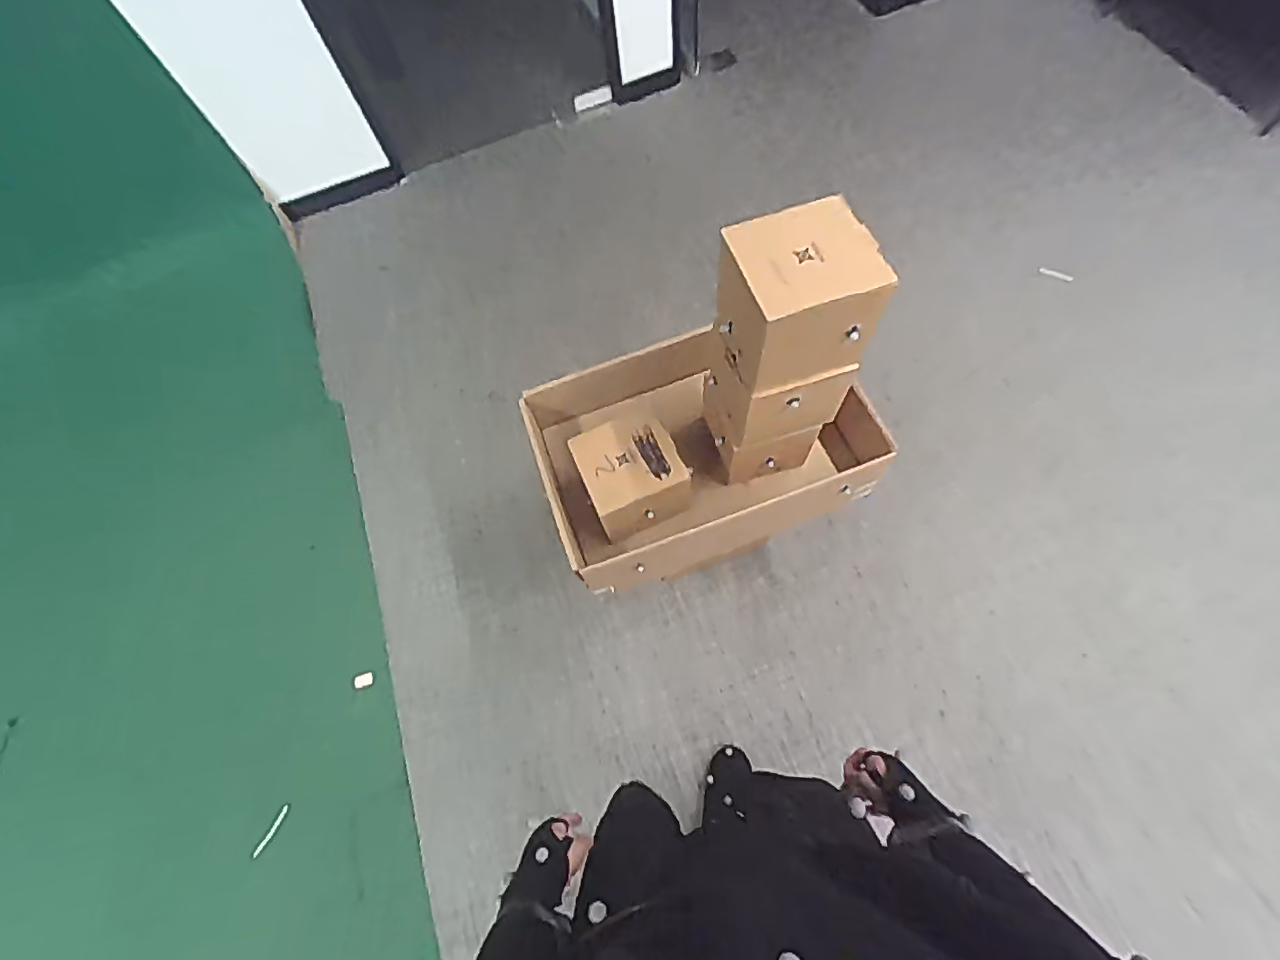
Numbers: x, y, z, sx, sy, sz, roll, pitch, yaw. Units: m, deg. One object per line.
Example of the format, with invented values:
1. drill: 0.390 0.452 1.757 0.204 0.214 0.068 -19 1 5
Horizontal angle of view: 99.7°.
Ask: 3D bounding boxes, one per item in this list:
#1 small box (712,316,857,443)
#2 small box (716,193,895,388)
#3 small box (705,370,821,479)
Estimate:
1. small box: 0.229 -0.184 0.907 0.179 0.176 0.168 -17 66 -2
2. small box: 0.216 -0.259 0.762 0.179 0.176 0.168 -18 65 -2
3. small box: 0.230 -0.116 1.057 0.168 0.176 0.179 -16 66 -1
